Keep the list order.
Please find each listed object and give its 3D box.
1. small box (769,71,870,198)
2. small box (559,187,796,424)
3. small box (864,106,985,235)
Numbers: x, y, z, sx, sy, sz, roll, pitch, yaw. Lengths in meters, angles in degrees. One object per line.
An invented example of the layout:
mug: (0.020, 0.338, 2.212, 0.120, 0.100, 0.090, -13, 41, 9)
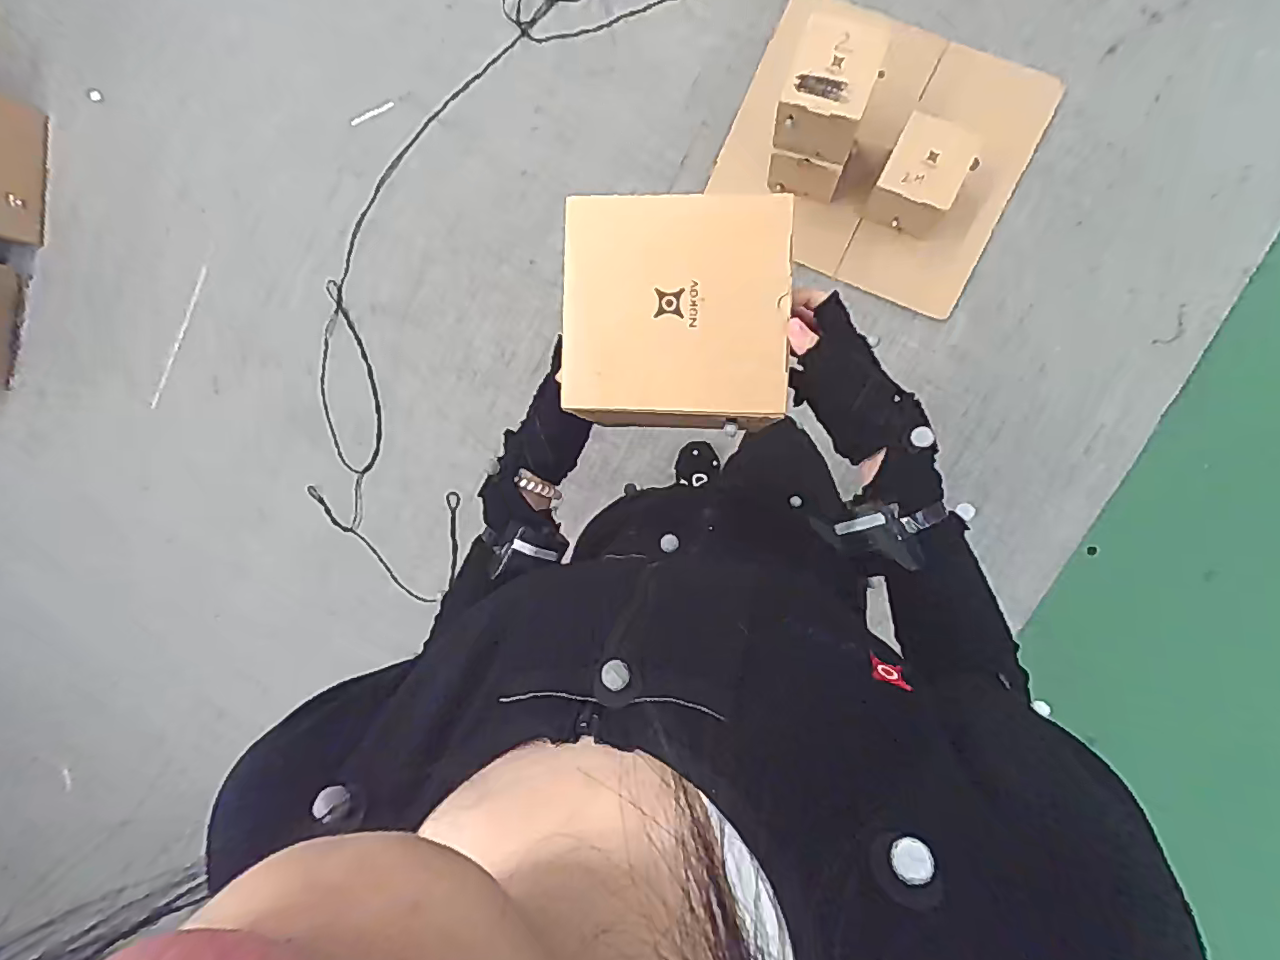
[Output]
small box: (0.413, -0.804, 1.277, 0.168, 0.176, 0.179, 21, 96, 7)
small box: (0.034, -0.140, 0.488, 0.179, 0.176, 0.168, 2, 92, 5)
small box: (0.642, -0.705, 1.249, 0.168, 0.176, 0.179, 26, 97, 8)
